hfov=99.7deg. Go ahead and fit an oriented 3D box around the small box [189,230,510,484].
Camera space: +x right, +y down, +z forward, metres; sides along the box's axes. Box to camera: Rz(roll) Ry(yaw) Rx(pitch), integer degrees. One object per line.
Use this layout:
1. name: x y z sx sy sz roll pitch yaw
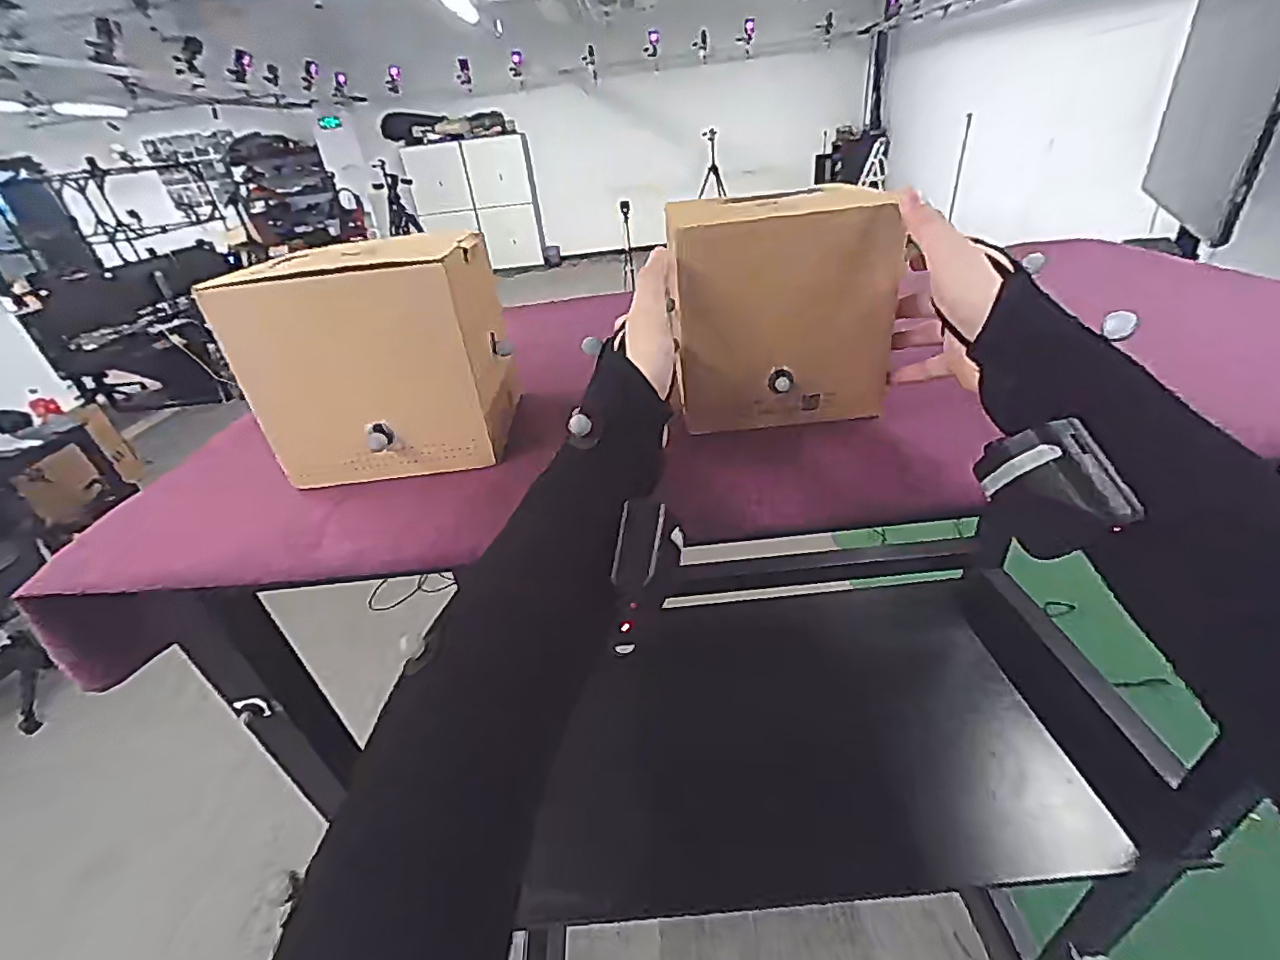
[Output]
1. small box: -0.223 -0.113 0.482 0.179 0.176 0.168 -7 31 -1
